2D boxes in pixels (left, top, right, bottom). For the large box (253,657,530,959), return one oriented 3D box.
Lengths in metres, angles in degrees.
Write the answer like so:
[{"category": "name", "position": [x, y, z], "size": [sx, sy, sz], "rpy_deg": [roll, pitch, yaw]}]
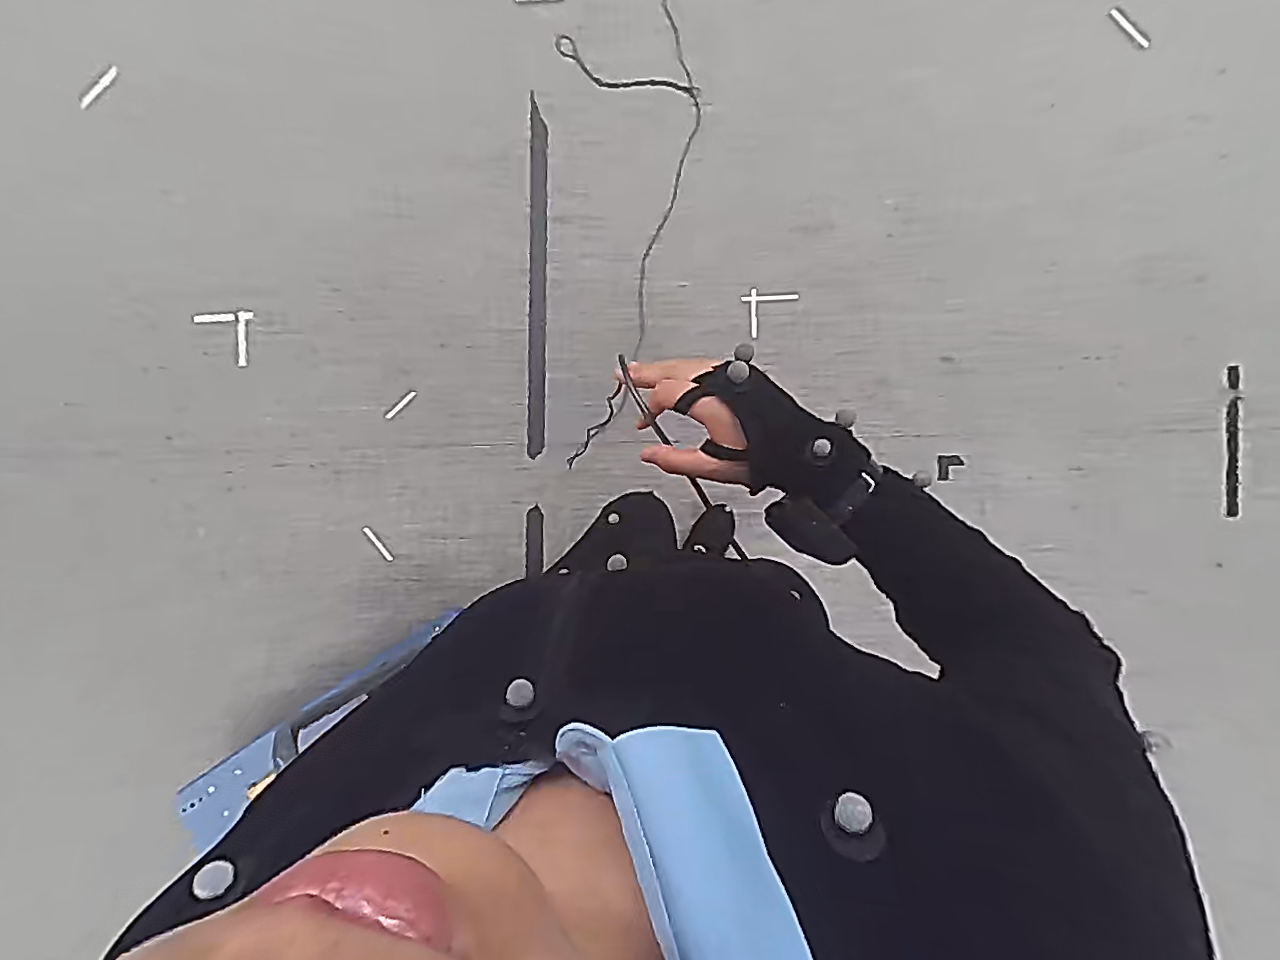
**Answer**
[{"category": "large box", "position": [-0.504, 0.671, 1.175], "size": [0.320, 0.320, 0.408], "rpy_deg": [-34, 86, 0]}]
